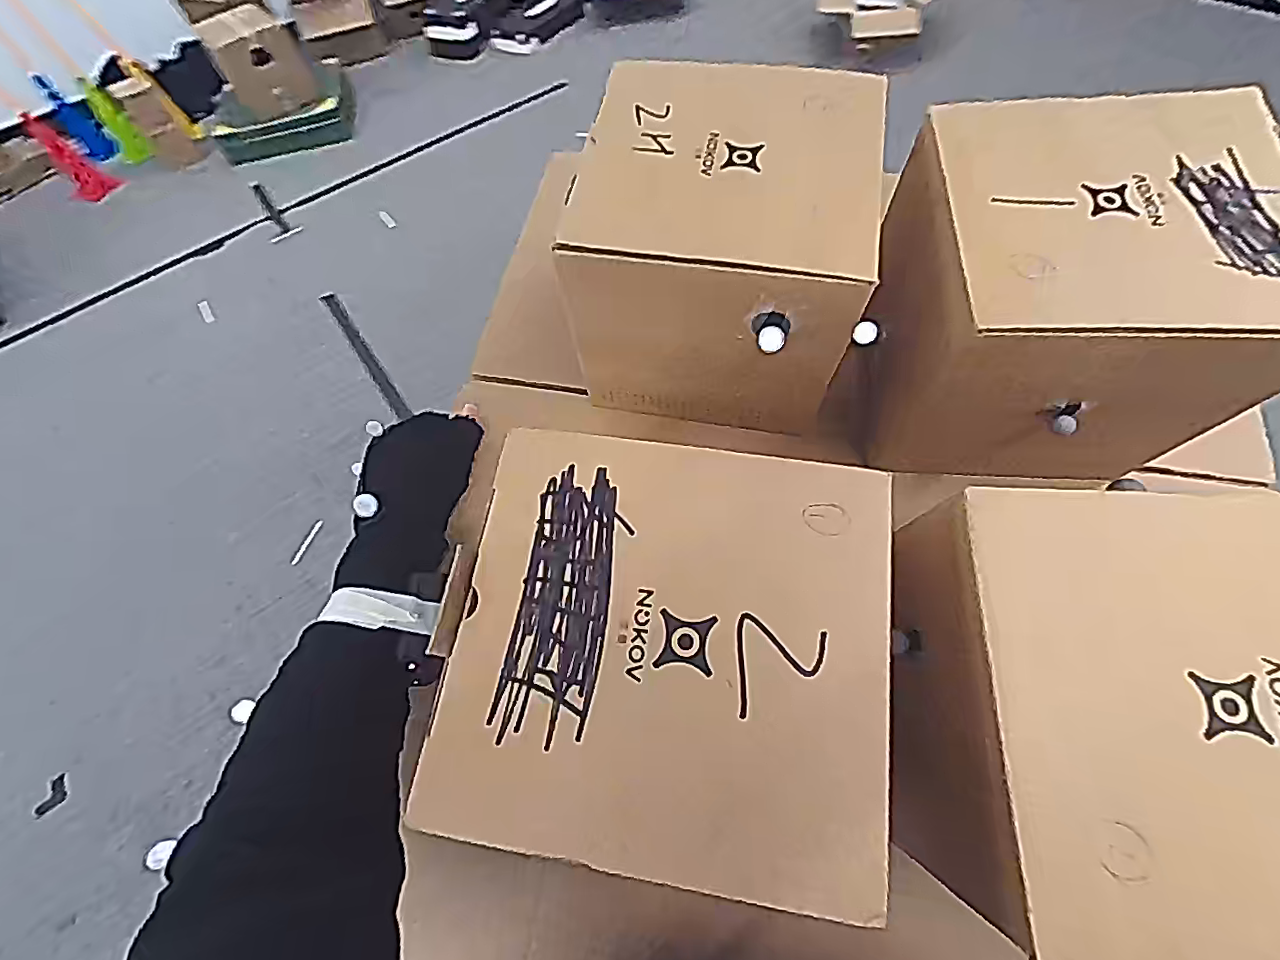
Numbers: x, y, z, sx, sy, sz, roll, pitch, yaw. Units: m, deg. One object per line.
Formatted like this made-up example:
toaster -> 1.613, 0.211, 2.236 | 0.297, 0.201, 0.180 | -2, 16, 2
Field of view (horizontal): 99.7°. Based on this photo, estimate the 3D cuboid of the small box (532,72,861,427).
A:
small box -> 0.044, -0.155, 0.397 | 0.179, 0.176, 0.168 | 9, 67, 9
